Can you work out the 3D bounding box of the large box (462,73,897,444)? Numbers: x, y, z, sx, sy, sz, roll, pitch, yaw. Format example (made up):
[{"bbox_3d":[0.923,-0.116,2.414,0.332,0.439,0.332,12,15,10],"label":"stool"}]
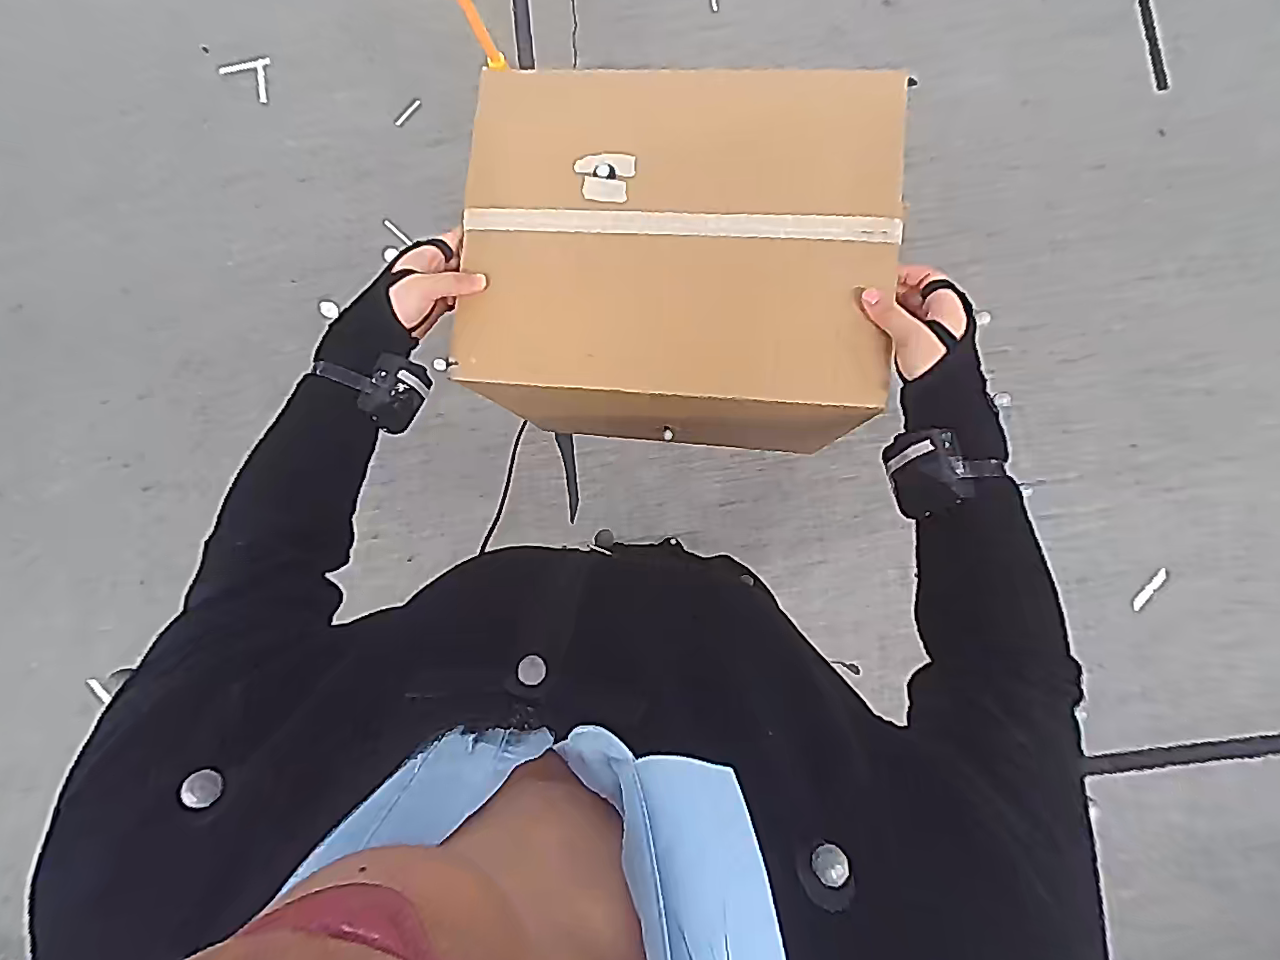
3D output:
[{"bbox_3d":[0.053,-0.223,0.660,0.408,0.320,0.320,4,85,8],"label":"large box"}]
